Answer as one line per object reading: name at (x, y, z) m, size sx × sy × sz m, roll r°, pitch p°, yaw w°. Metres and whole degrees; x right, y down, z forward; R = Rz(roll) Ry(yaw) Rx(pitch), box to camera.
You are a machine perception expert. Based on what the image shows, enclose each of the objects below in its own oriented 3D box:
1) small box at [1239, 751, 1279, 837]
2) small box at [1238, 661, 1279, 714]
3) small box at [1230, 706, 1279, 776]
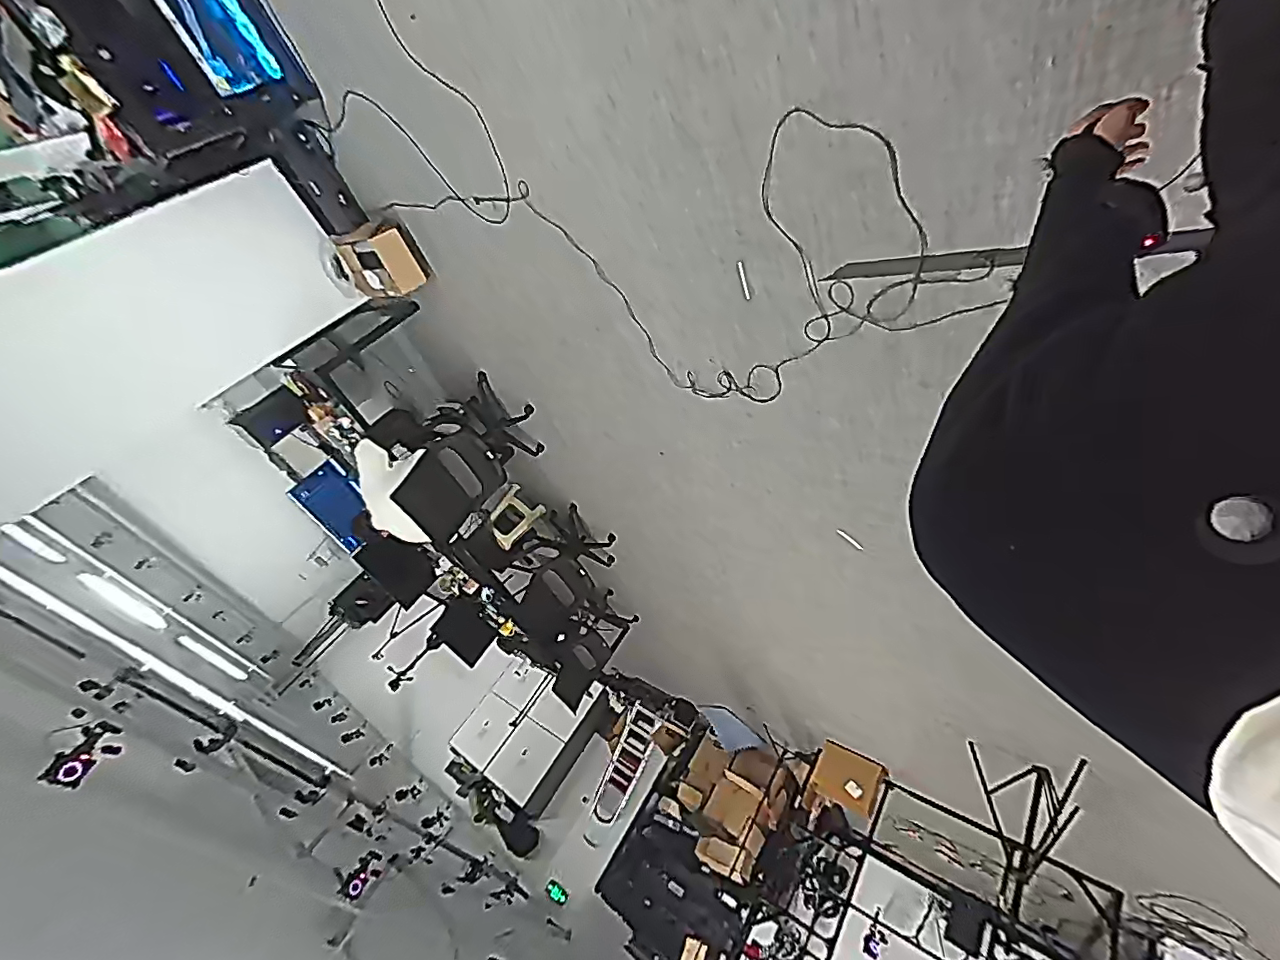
small box at (1.887, 0.931, 1.572) m, size 0.168 × 0.176 × 0.179 m, roll 9°, pitch 138°, yaw 39°
small box at (2.071, 0.722, 1.747) m, size 0.168 × 0.176 × 0.179 m, roll 7°, pitch 138°, yaw 42°
small box at (1.974, 0.835, 1.677) m, size 0.179 × 0.176 × 0.168 m, roll 6°, pitch 137°, yaw 43°
